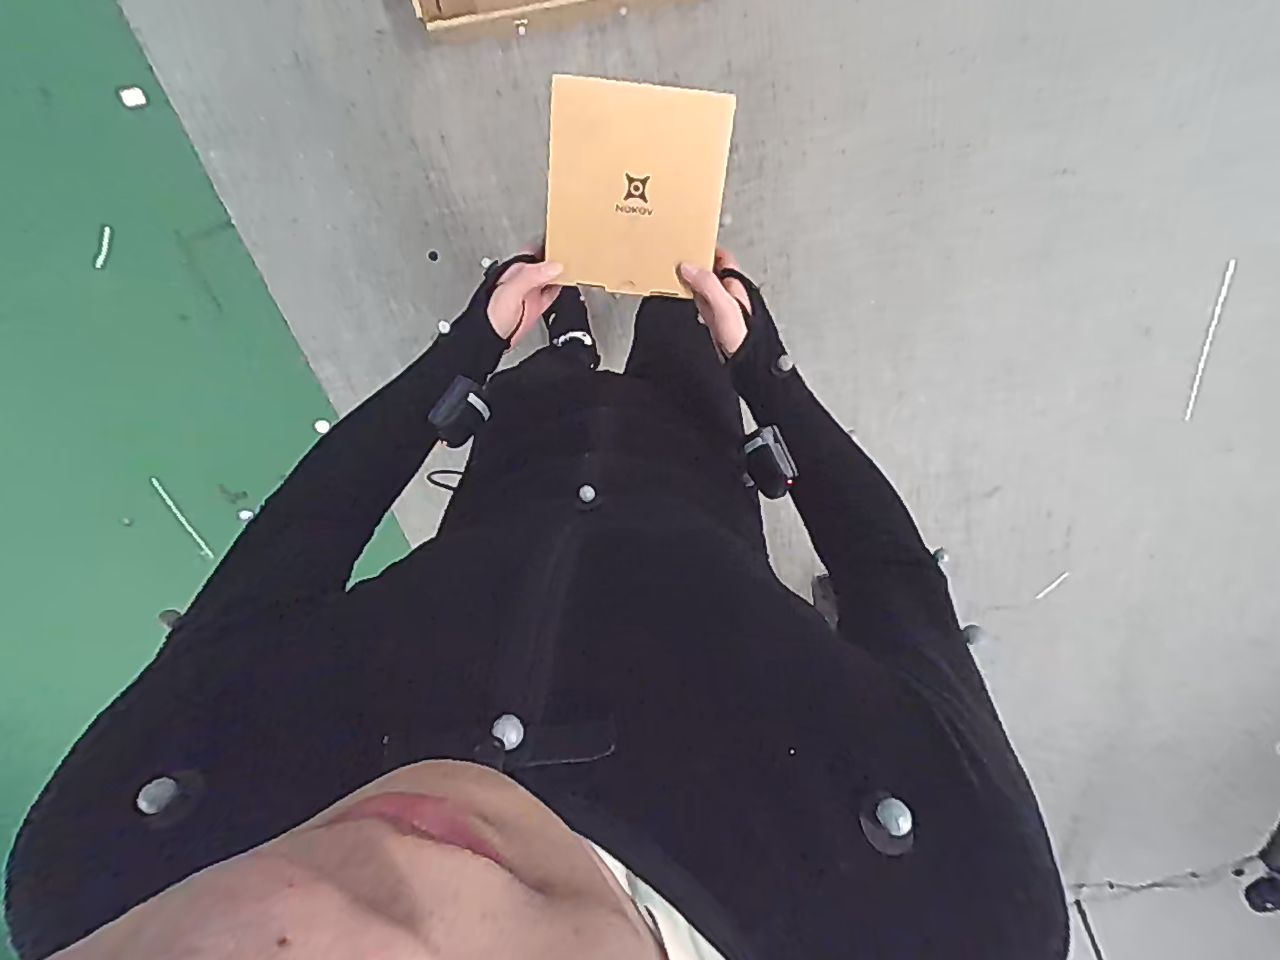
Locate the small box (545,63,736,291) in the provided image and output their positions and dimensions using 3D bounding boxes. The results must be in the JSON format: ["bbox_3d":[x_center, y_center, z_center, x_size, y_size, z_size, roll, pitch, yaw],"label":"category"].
[{"bbox_3d":[-0.004,-0.301,0.575,0.168,0.176,0.179,5,111,-2],"label":"small box"}]
